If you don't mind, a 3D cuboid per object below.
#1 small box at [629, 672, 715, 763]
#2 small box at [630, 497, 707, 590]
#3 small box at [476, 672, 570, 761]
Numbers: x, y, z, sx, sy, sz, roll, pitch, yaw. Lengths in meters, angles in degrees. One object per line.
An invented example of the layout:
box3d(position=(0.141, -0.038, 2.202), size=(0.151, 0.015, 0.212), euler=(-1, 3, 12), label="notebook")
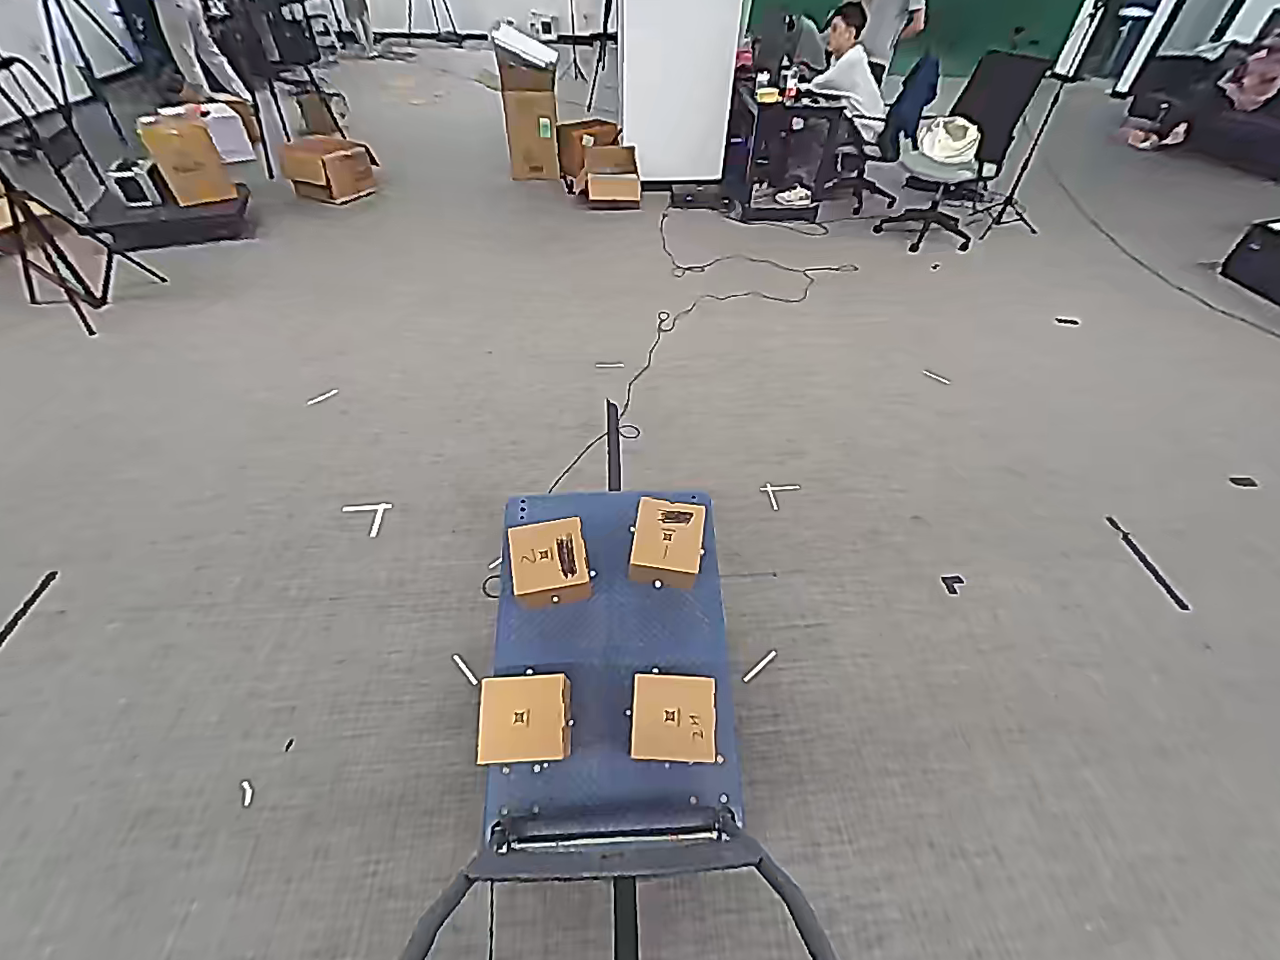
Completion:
box3d(position=(0.068, 0.529, 1.203), size=(0.179, 0.176, 0.168), euler=(4, 65, 0), label="small box")
box3d(position=(0.069, 0.165, 1.377), size=(0.168, 0.176, 0.179), euler=(9, 66, 2), label="small box")
box3d(position=(-0.250, 0.525, 1.194), size=(0.179, 0.176, 0.168), euler=(-1, 64, -5), label="small box")
